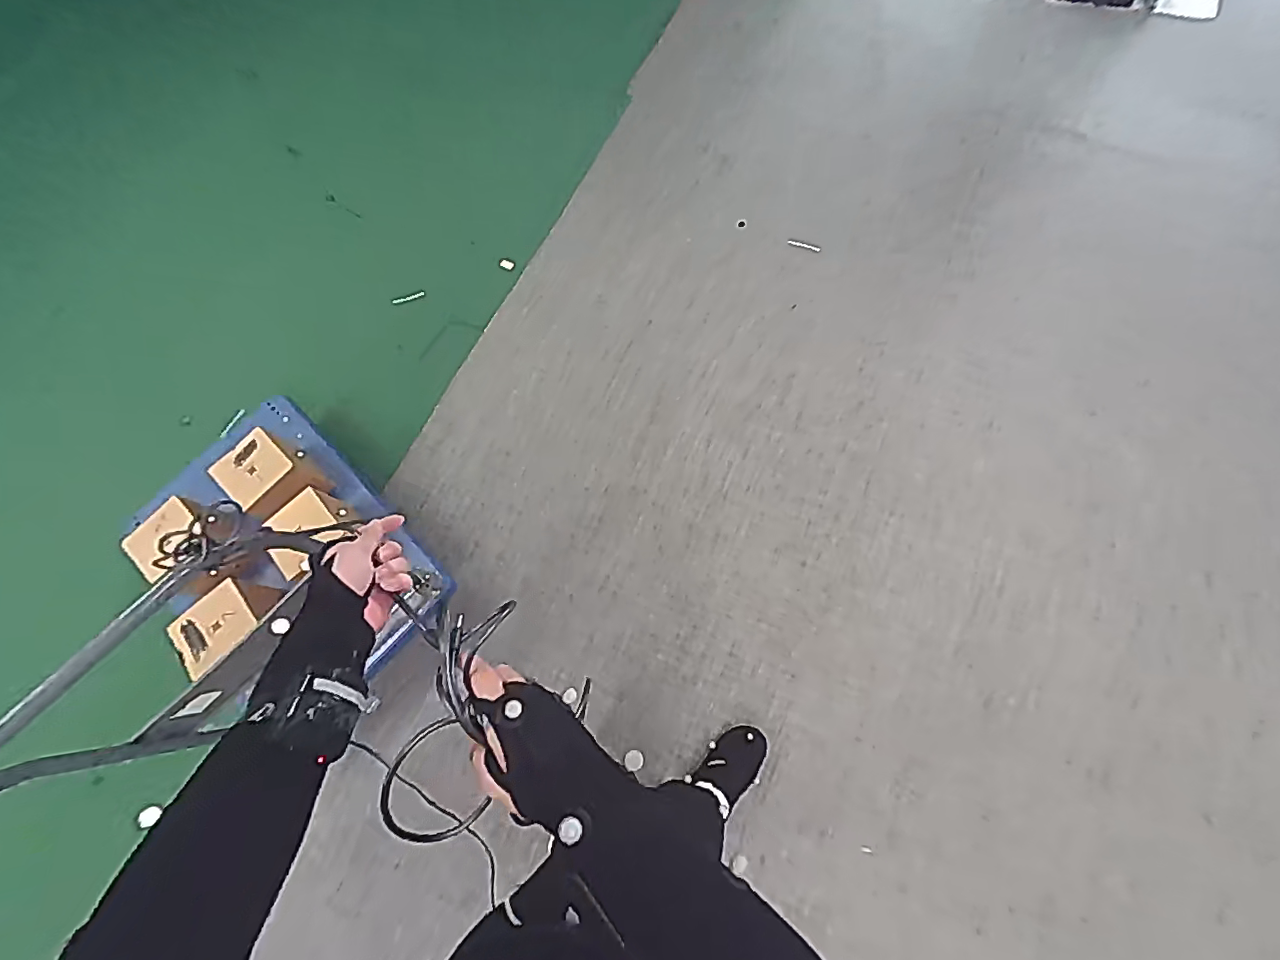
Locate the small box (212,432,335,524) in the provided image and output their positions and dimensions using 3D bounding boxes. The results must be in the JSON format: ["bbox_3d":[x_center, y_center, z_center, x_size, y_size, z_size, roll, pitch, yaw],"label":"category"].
[{"bbox_3d":[-0.970,0.010,1.442,0.179,0.176,0.168,40,80,17],"label":"small box"}]

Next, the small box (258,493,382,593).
[{"bbox_3d":[-0.801,0.166,1.367,0.168,0.176,0.179,-44,72,-9],"label":"small box"}]

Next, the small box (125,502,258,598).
[{"bbox_3d":[-1.148,0.189,1.401,0.179,0.176,0.168,38,78,18],"label":"small box"}]
